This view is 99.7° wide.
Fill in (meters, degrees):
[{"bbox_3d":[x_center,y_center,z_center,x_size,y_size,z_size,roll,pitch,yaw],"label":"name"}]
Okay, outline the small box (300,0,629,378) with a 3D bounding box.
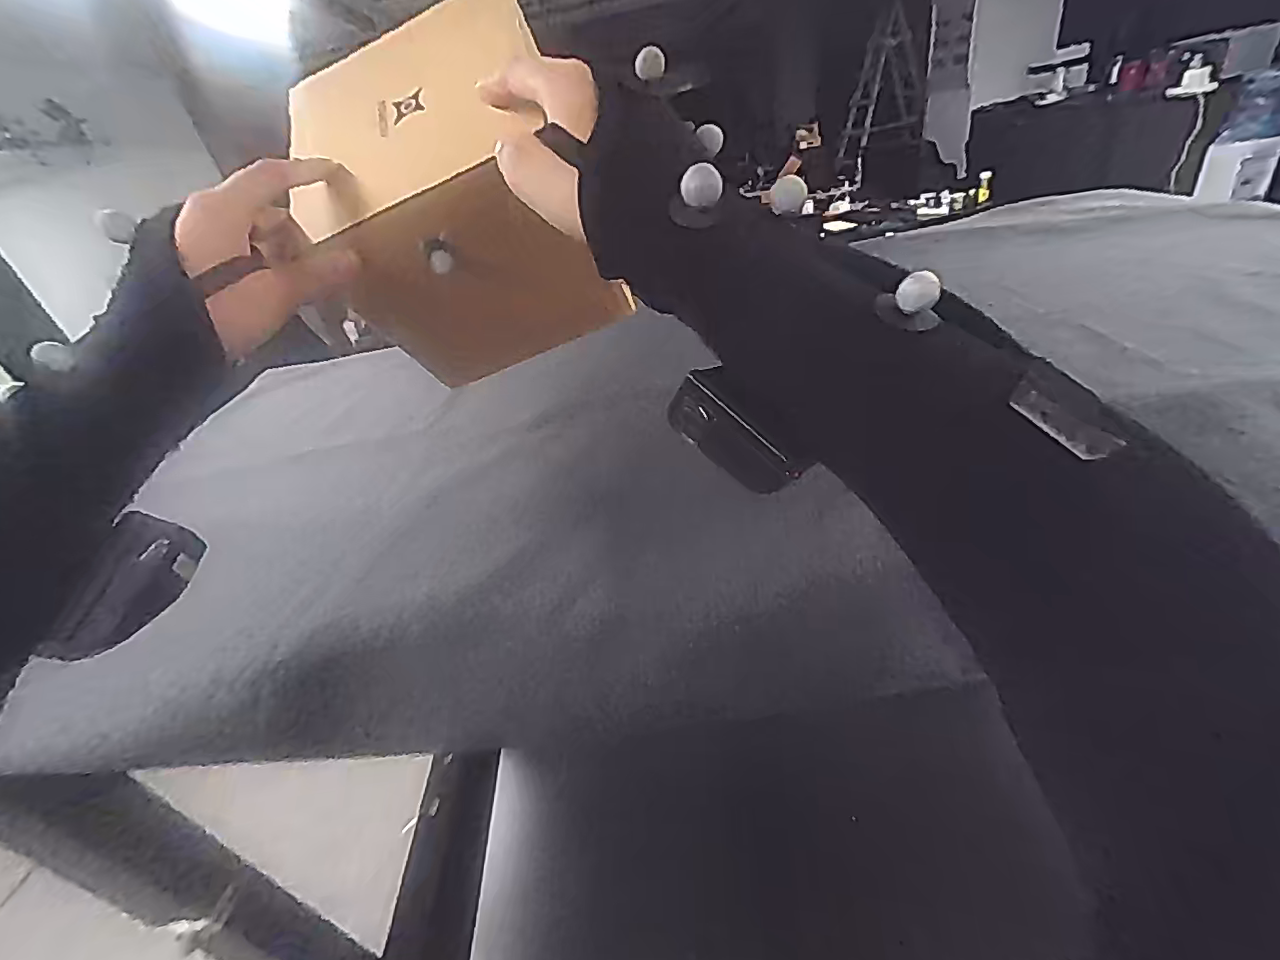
[{"bbox_3d":[-0.118,-0.207,0.411,0.179,0.176,0.168,-19,67,11],"label":"small box"}]
